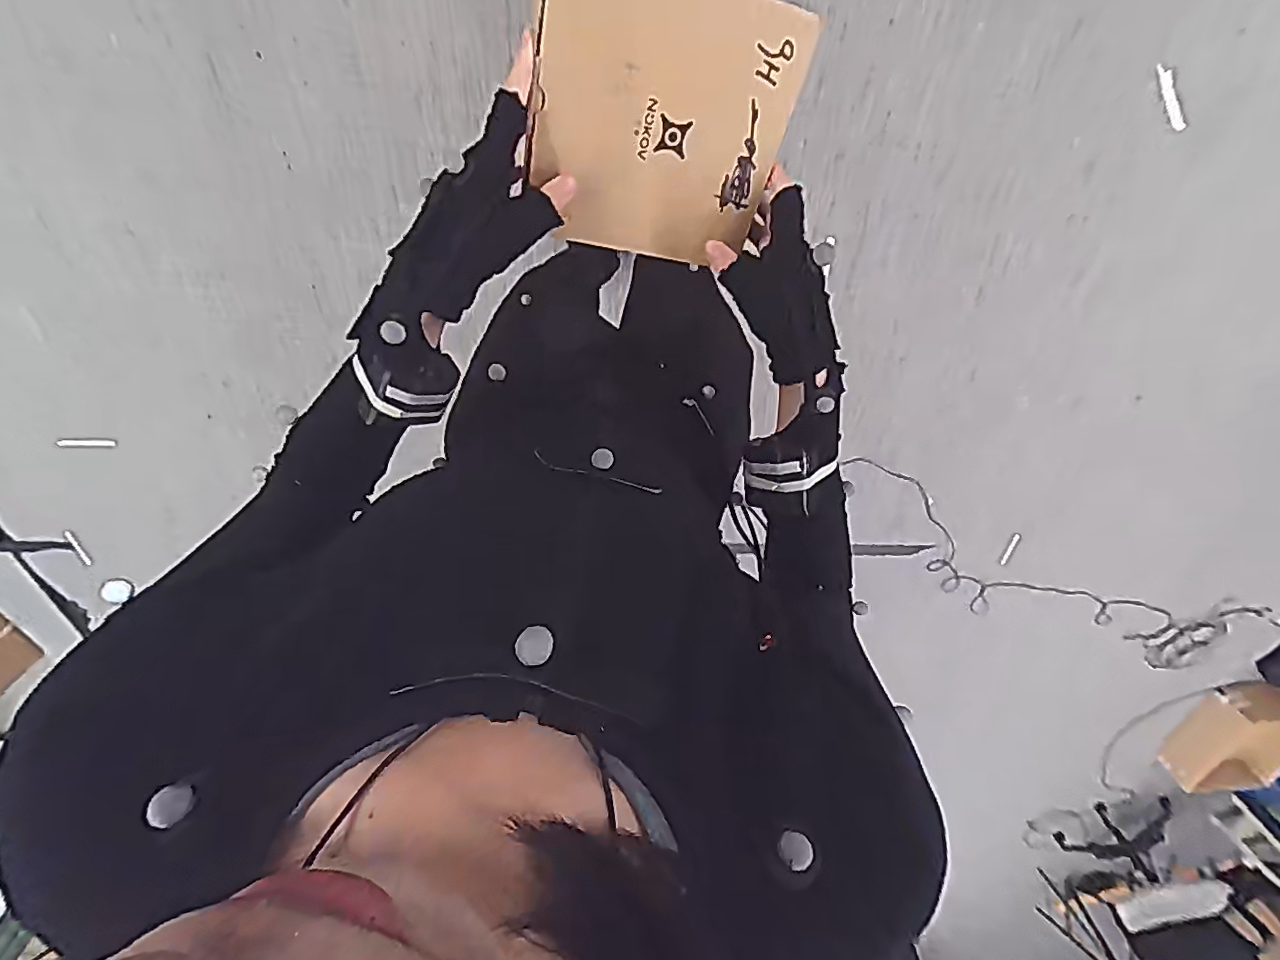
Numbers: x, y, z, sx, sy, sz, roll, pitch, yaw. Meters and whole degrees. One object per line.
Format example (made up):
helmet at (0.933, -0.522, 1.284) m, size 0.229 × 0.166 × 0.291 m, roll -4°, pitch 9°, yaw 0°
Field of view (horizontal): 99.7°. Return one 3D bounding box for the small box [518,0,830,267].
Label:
small box at (0.005, -0.293, 0.420) m, size 0.179 × 0.176 × 0.168 m, roll 5°, pitch 132°, yaw -16°
